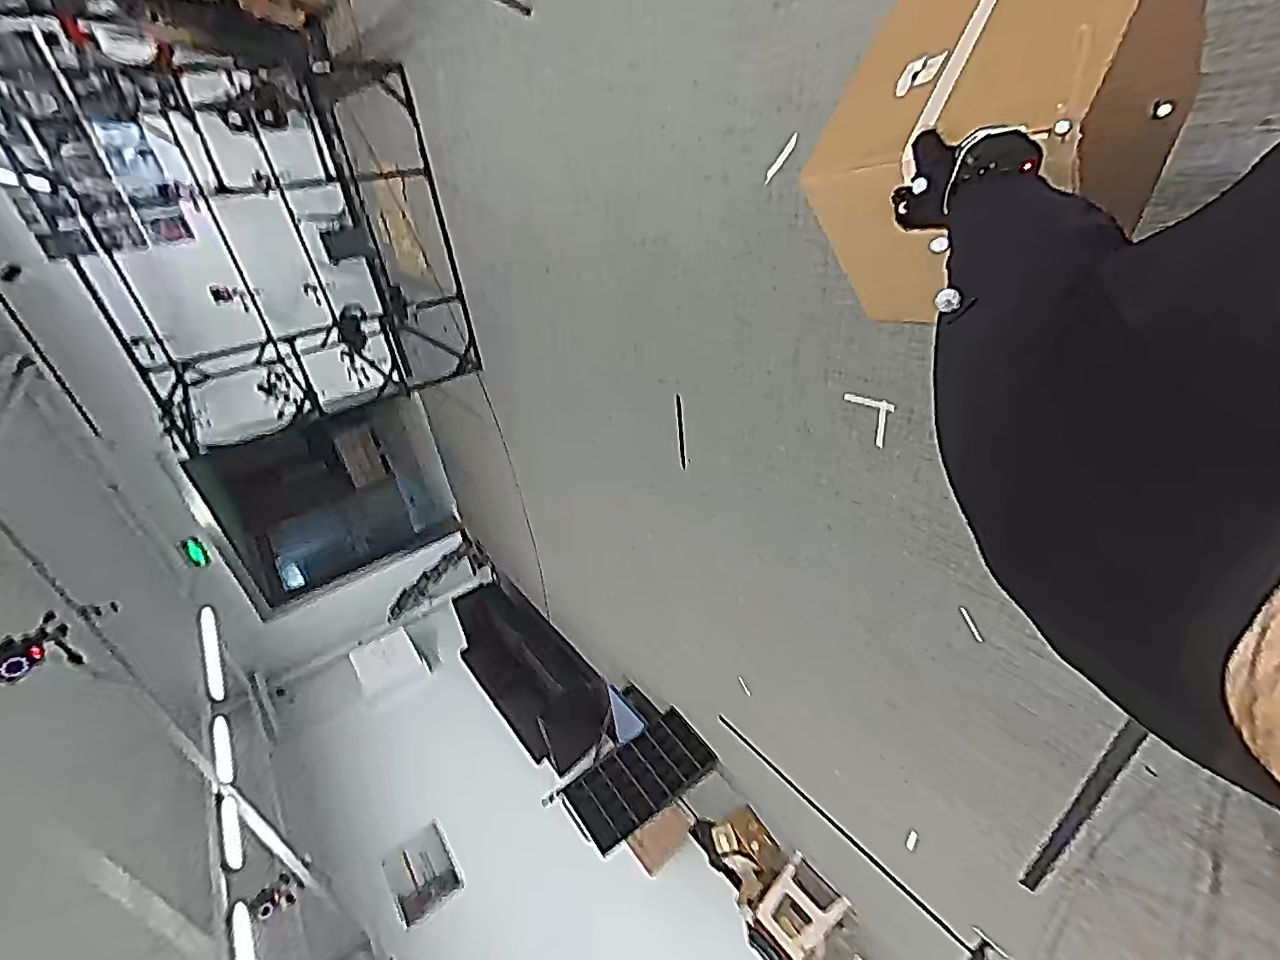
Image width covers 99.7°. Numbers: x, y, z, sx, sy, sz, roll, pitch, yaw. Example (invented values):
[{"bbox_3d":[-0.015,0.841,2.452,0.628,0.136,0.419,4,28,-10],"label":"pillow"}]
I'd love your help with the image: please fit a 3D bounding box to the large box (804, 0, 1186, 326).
[{"bbox_3d":[0.502,-0.477,0.759,0.320,0.408,0.320,33,172,-41],"label":"large box"}]
